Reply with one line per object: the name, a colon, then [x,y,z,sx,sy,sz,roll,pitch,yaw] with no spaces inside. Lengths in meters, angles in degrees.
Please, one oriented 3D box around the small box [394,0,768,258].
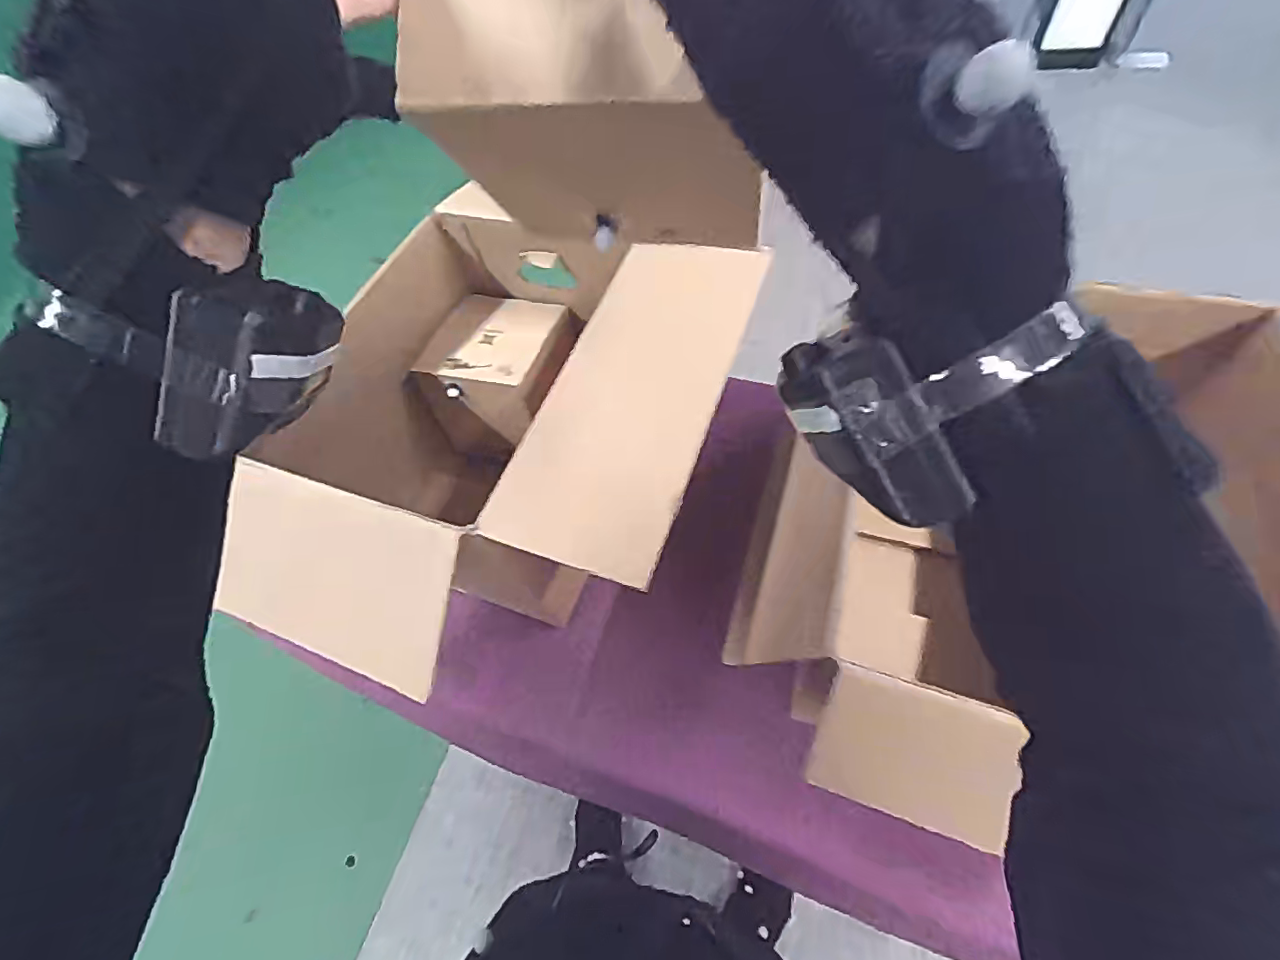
small box: [-0.013,-0.250,0.315,0.168,0.176,0.179,6,94,10]
